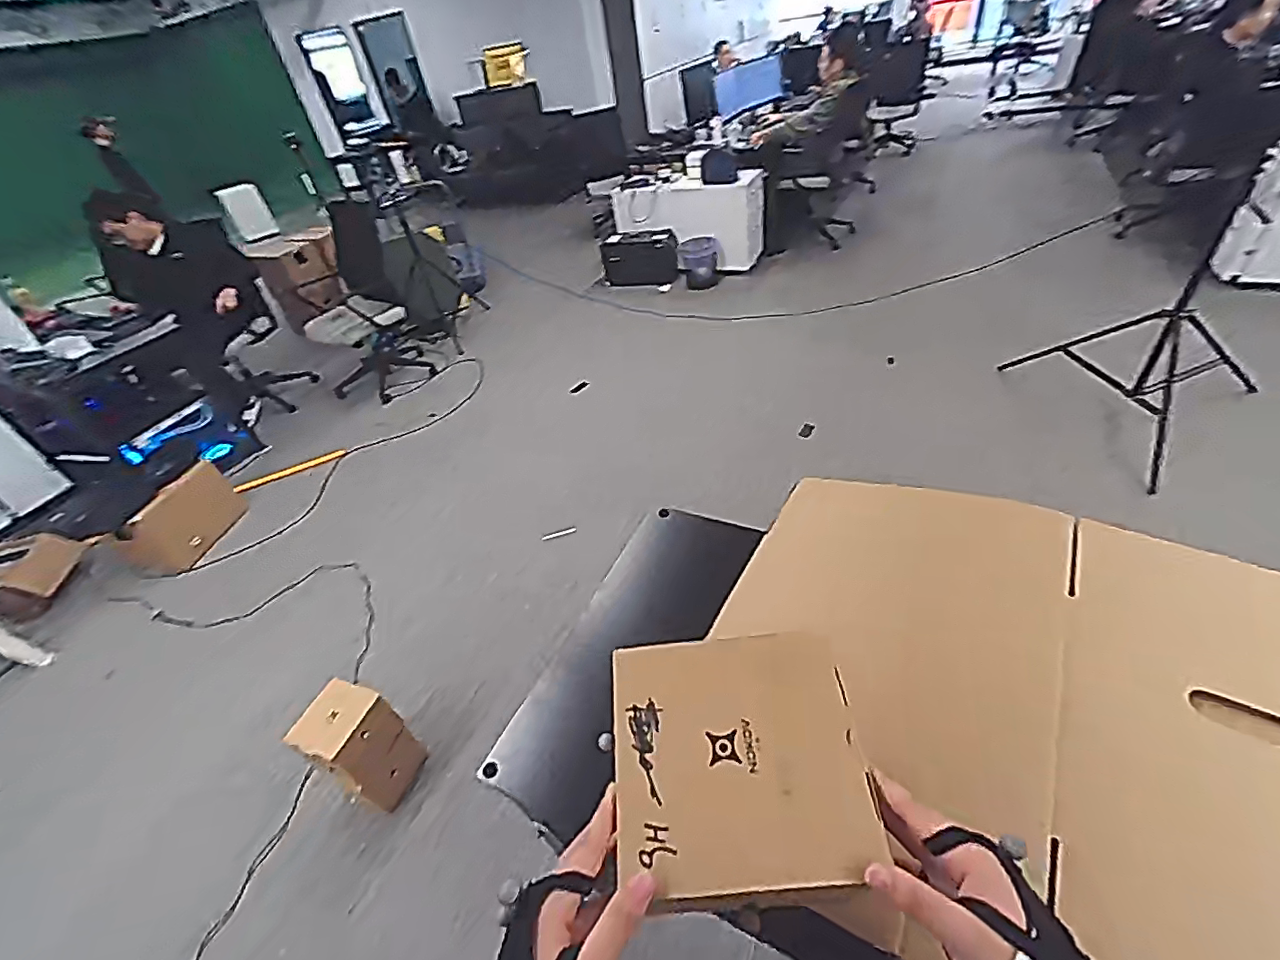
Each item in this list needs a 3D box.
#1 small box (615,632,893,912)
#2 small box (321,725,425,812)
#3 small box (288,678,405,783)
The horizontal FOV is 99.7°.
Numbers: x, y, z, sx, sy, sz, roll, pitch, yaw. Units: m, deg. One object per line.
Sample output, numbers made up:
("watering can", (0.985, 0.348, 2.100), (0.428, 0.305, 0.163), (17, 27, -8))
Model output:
("small box", (0.074, 0.245, 0.451), (0.179, 0.176, 0.168), (-6, 47, 0))
("small box", (-0.730, 0.780, 1.506), (0.168, 0.176, 0.179), (9, 44, 22))
("small box", (-0.751, 0.653, 1.407), (0.168, 0.176, 0.179), (8, 42, 20))
